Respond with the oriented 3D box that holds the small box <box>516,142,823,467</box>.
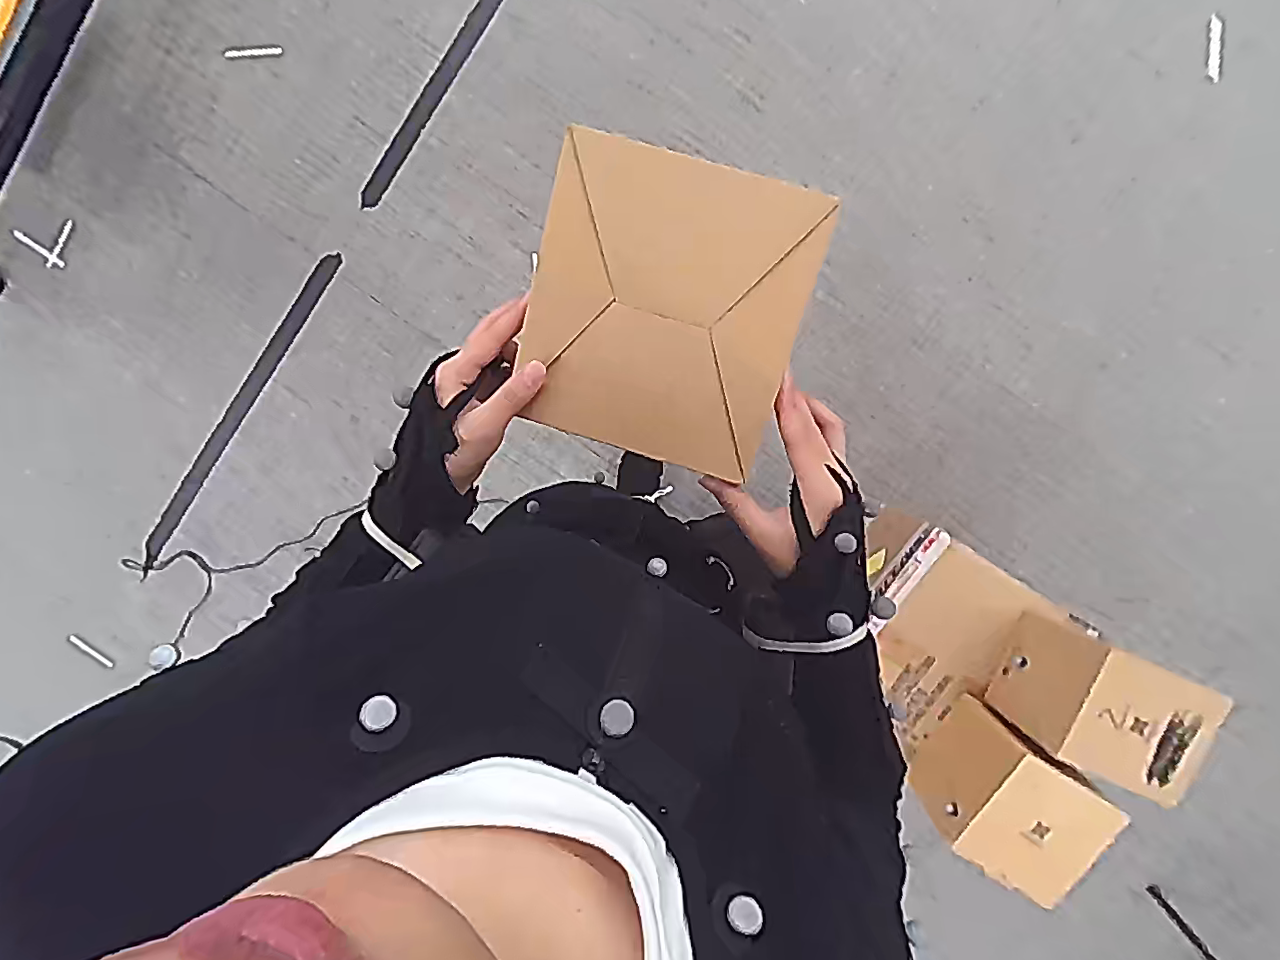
[{"bbox_3d":[0.020,-0.117,0.413,0.168,0.176,0.179,17,105,3],"label":"small box"}]
